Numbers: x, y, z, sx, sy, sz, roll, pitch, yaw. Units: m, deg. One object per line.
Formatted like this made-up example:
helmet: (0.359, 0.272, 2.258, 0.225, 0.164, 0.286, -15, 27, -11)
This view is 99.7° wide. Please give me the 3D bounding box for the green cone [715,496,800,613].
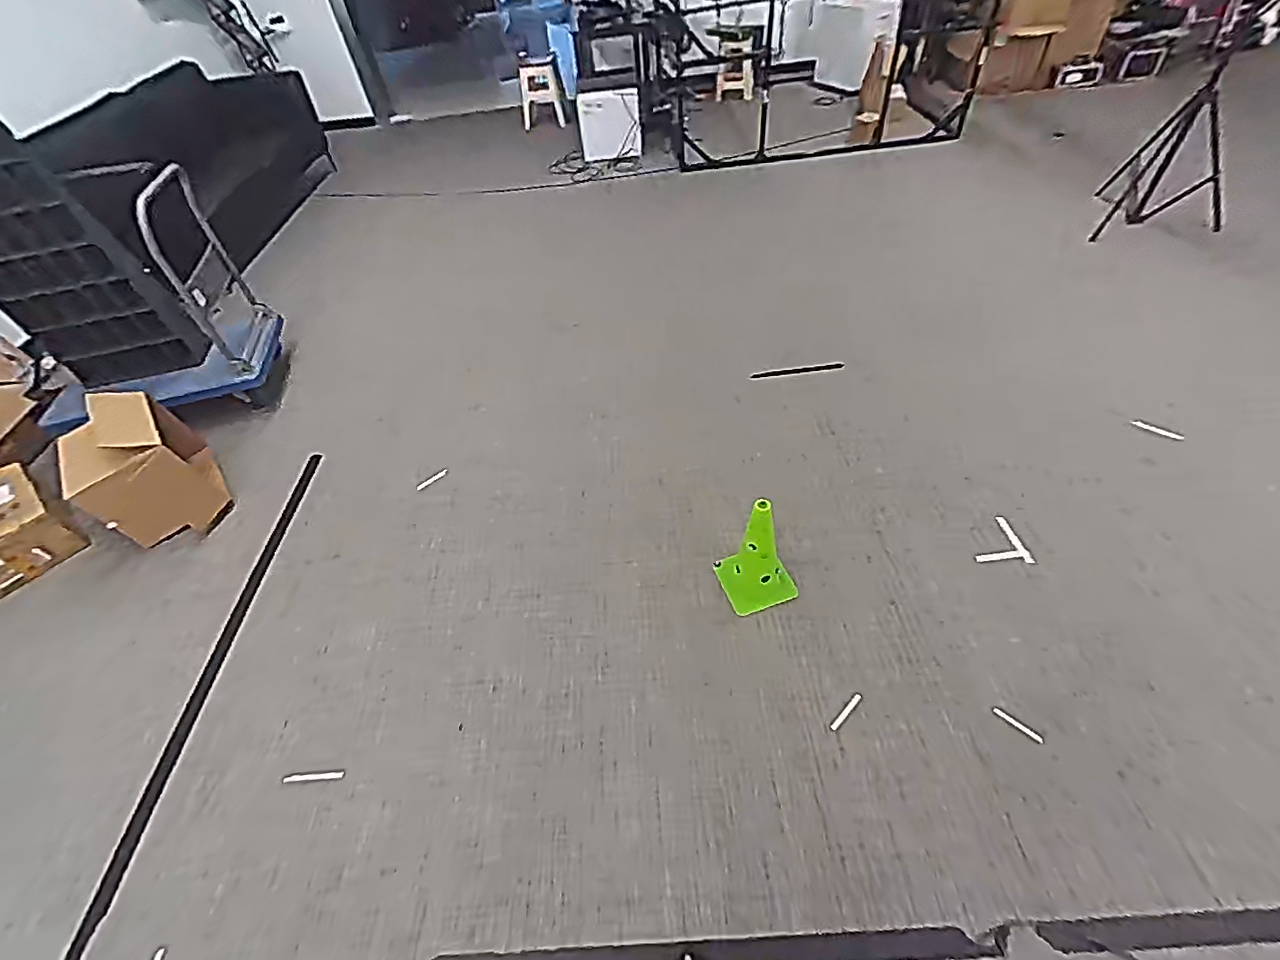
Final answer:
green cone: (0.337, 0.180, 1.499, 0.202, 0.368, 0.200, -17, 48, -9)
